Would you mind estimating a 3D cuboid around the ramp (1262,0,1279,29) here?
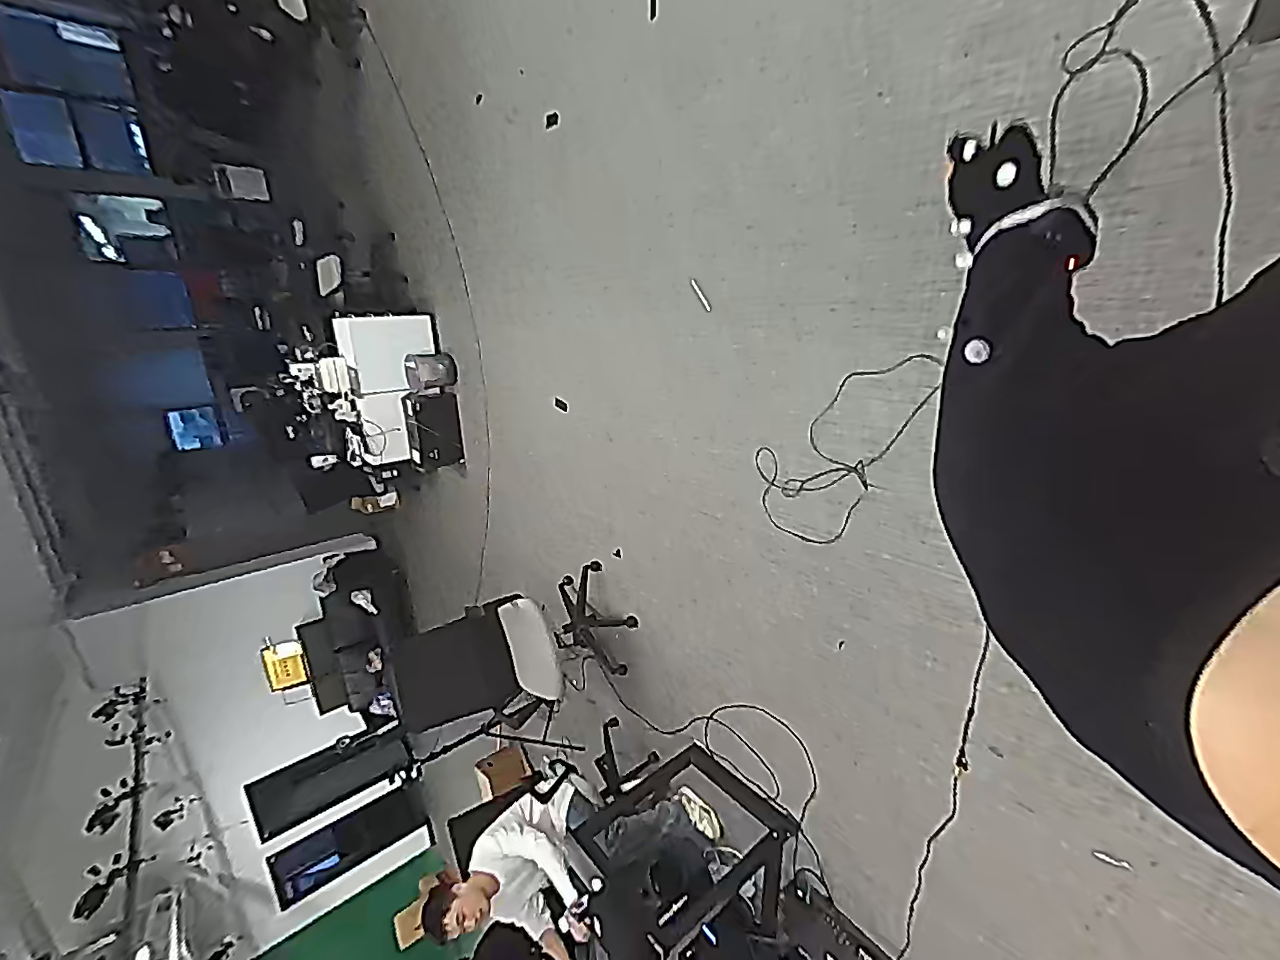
[{"bbox_3d":[1.124,-1.156,0.537,0.509,0.206,0.991,16,115,47],"label":"ramp"}]
